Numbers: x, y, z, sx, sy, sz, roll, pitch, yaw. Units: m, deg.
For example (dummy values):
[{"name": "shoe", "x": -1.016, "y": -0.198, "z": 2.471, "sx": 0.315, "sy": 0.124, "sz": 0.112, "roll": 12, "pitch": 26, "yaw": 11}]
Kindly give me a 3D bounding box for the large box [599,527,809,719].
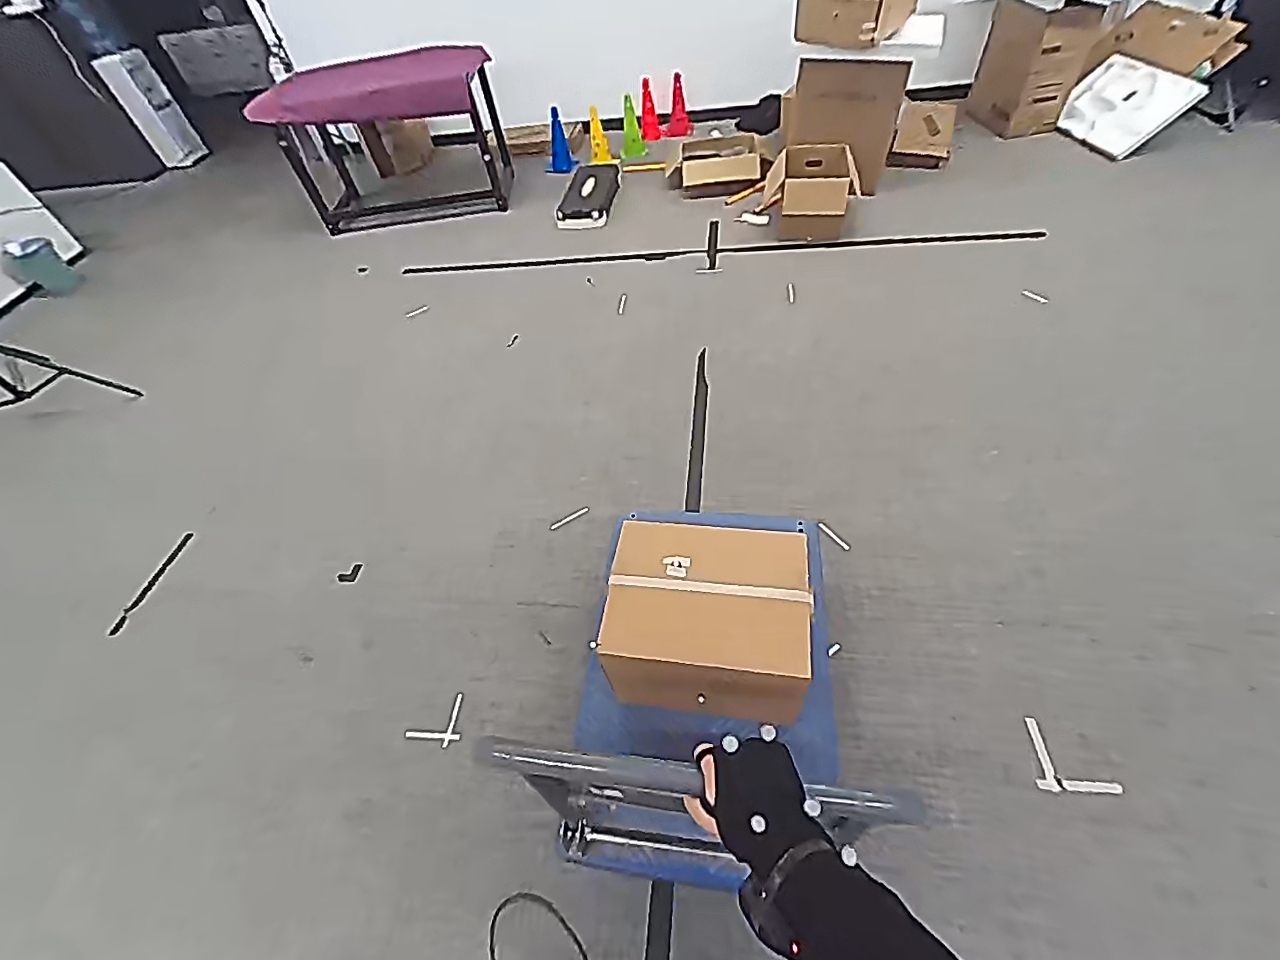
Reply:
[{"name": "large box", "x": 0.156, "y": 0.325, "z": 1.229, "sx": 0.408, "sy": 0.320, "sz": 0.320, "roll": 3, "pitch": 50, "yaw": 11}]
